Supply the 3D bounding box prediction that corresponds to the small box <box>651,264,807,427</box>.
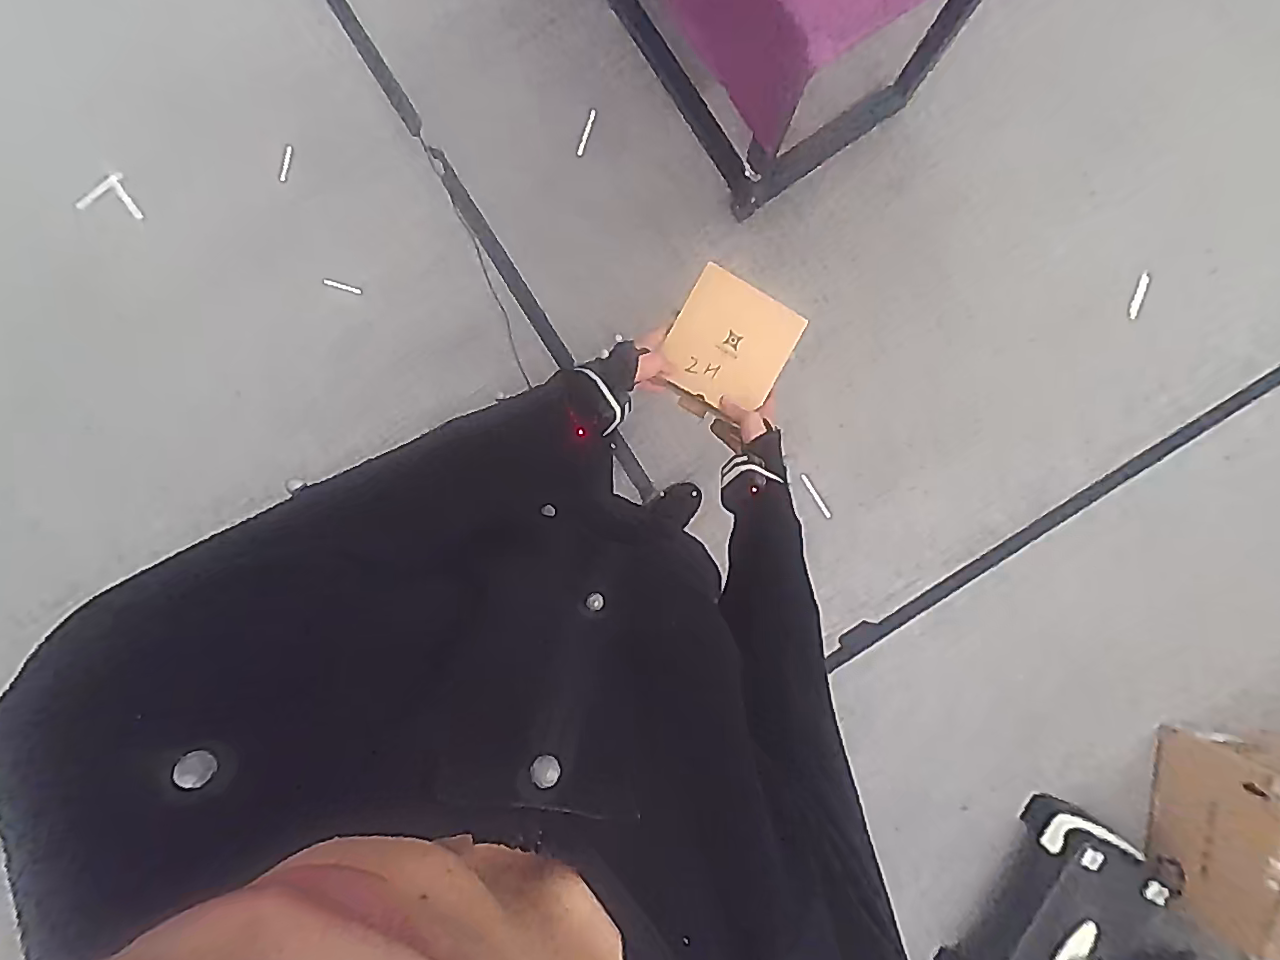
[{"bbox_3d":[0.124,-0.200,0.844,0.168,0.176,0.179,29,98,-4],"label":"small box"}]
